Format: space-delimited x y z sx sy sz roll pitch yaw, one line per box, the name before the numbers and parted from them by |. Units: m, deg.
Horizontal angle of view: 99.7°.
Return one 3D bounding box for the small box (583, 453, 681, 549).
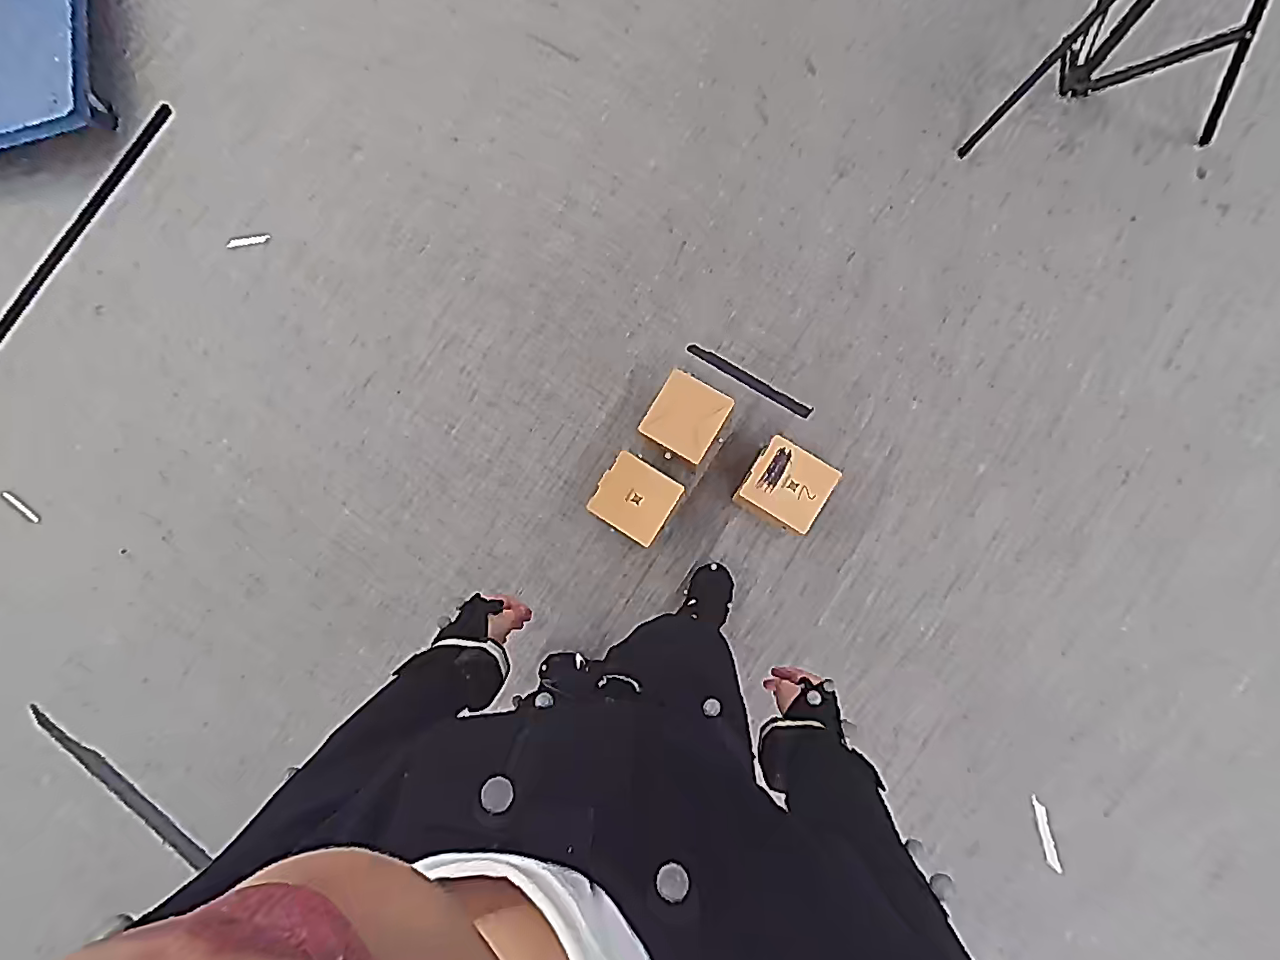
small box | -0.012 0.054 1.333 0.179 0.176 0.168 32 87 8
